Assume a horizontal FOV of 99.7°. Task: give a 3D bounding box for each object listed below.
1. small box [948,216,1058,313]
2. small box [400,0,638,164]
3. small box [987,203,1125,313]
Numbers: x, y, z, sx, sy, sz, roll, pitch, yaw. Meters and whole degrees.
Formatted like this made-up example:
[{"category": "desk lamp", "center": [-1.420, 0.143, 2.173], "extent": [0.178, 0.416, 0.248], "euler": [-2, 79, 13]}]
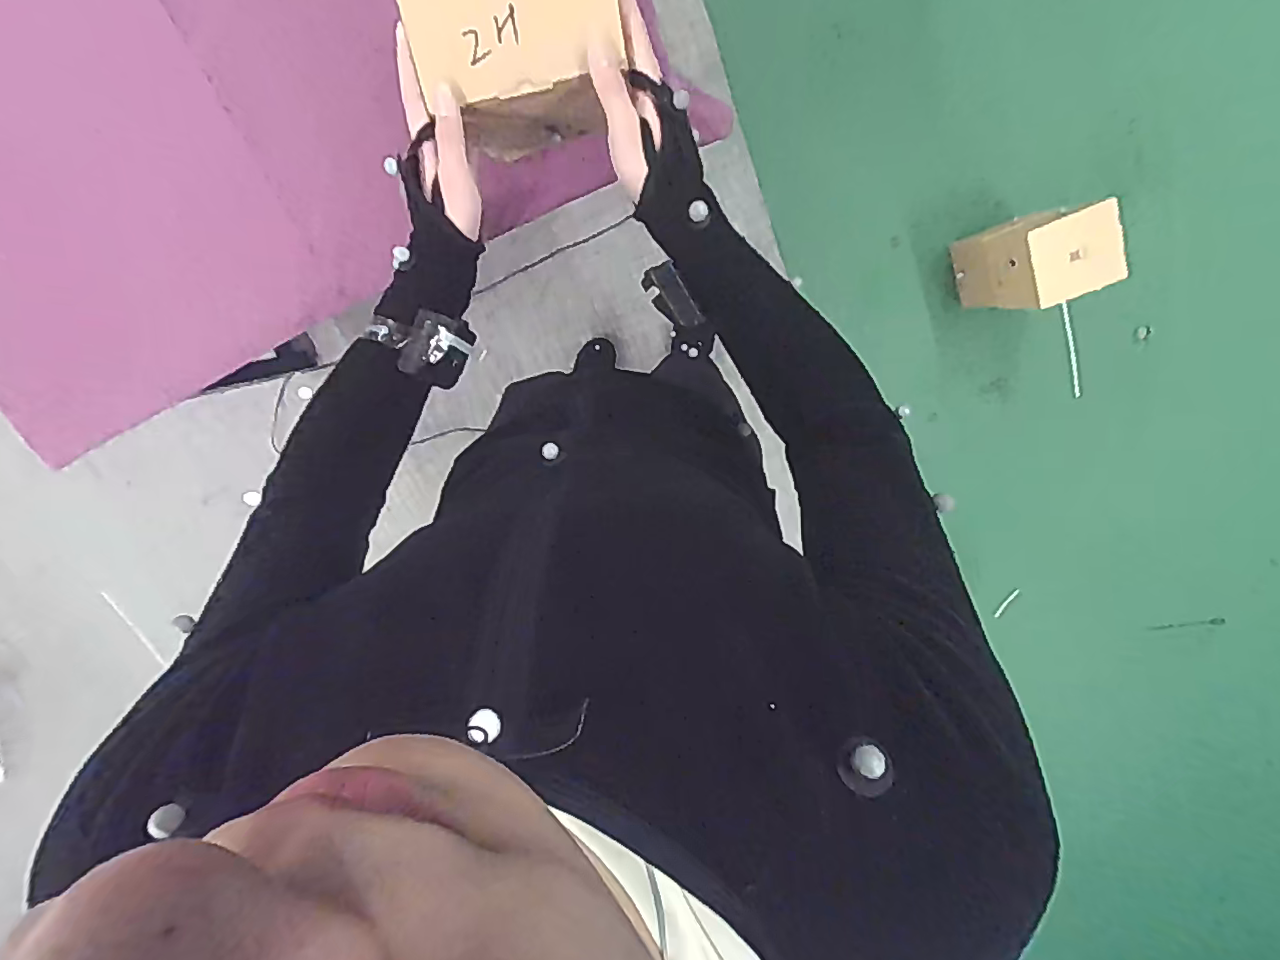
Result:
[{"category": "small box", "center": [0.909, -0.532, 1.346], "extent": [0.179, 0.176, 0.168], "euler": [-21, 106, 11]}, {"category": "small box", "center": [-0.097, -0.404, 0.474], "extent": [0.168, 0.176, 0.179], "euler": [-8, 110, 7]}, {"category": "small box", "center": [0.903, -0.478, 1.194], "extent": [0.179, 0.176, 0.168], "euler": [-22, 105, 9]}]
